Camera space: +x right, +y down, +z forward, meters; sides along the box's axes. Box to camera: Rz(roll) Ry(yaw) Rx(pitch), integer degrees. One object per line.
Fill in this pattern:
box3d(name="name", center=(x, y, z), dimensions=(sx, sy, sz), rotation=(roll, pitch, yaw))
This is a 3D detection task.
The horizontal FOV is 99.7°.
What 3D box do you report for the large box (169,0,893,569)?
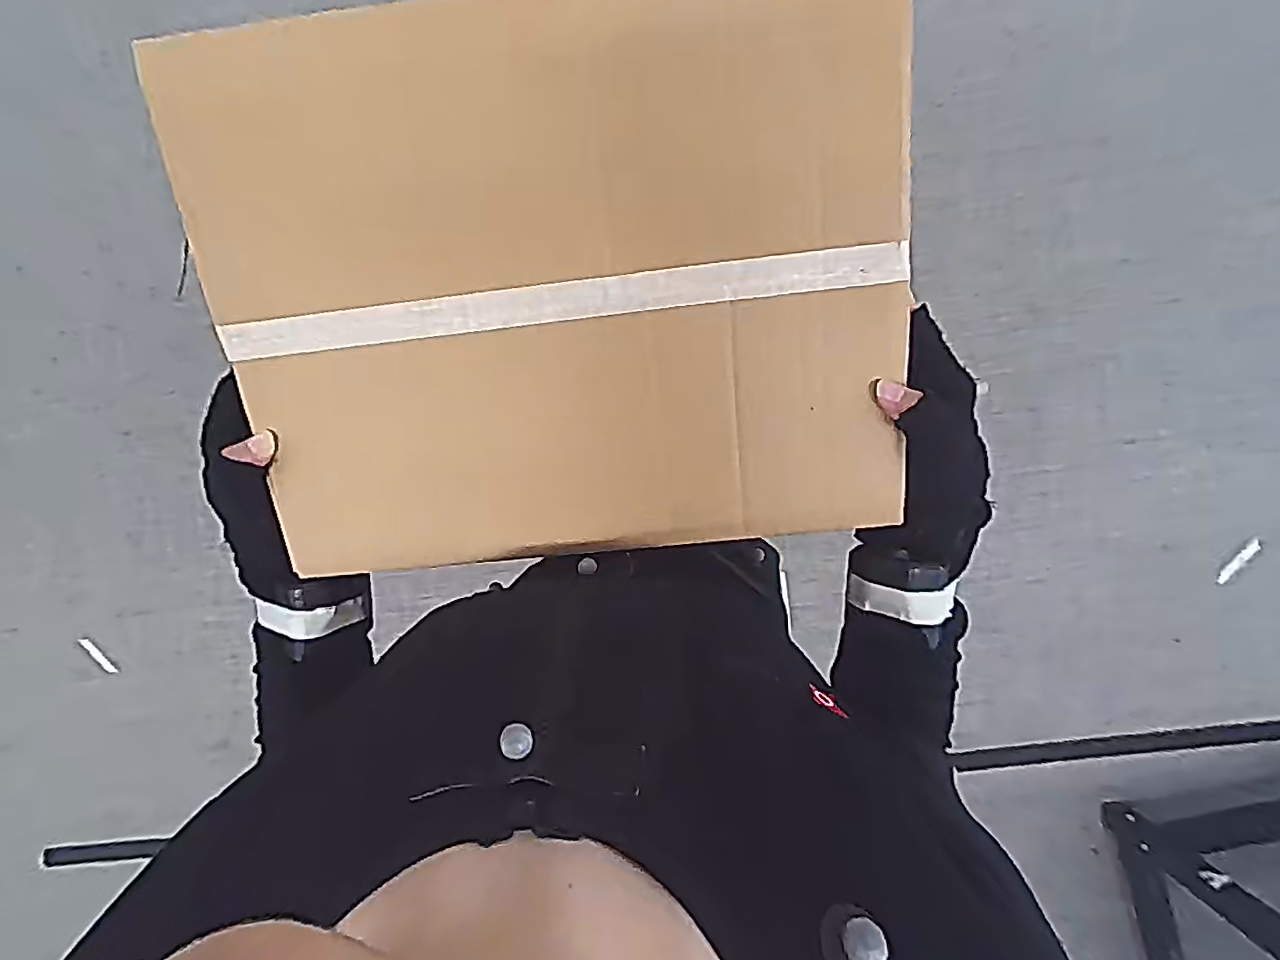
box3d(name="large box", center=(-0.048, -0.145, 0.470), dimensions=(0.408, 0.320, 0.320), rotation=(-6, 106, 3))
